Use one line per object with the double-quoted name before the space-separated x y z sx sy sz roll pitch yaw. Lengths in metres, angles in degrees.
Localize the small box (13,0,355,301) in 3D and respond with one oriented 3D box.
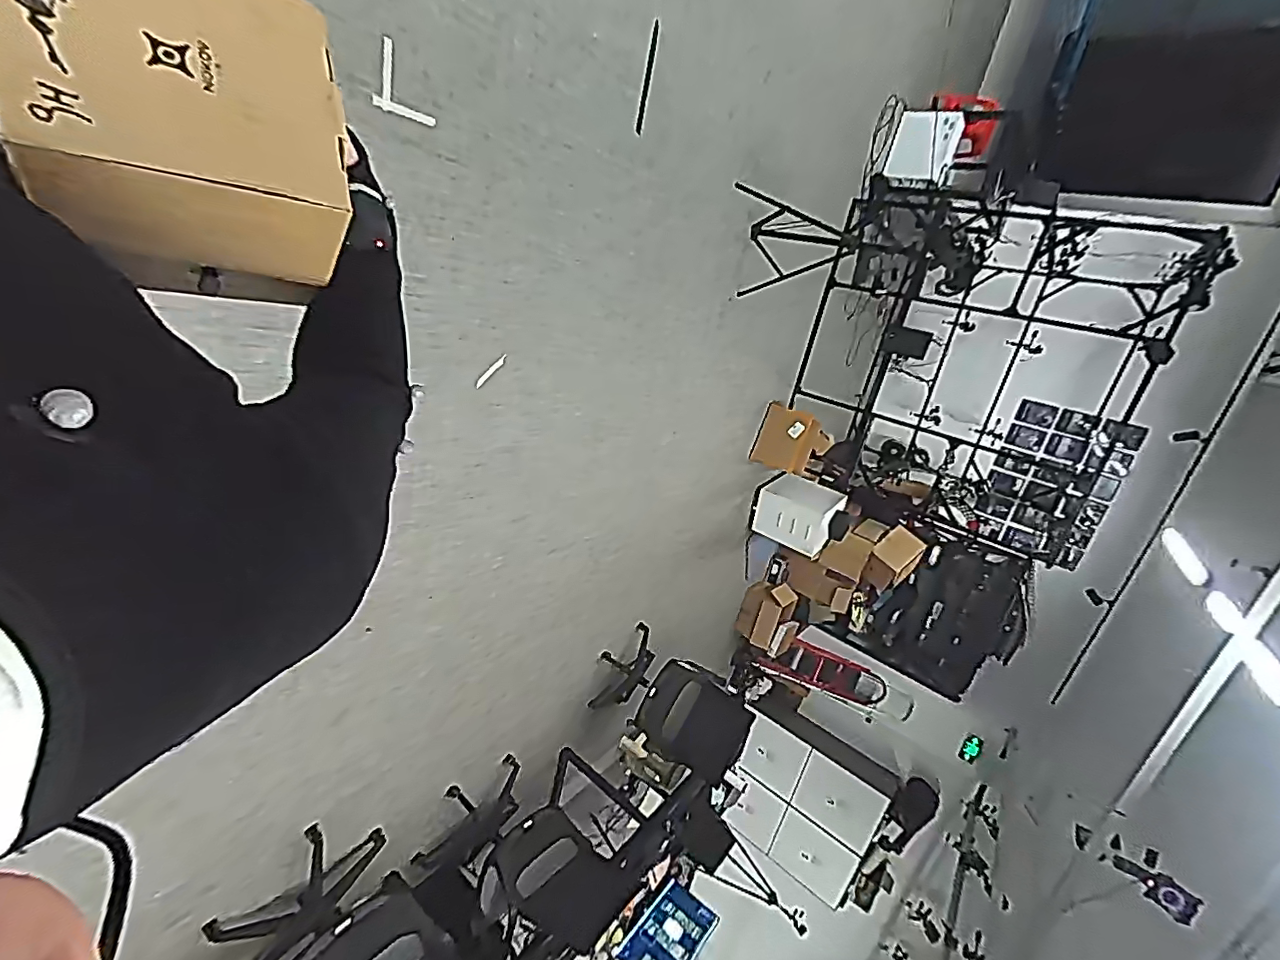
"small box" -0.349 -0.260 0.431 0.179 0.176 0.168 -6 83 -39
